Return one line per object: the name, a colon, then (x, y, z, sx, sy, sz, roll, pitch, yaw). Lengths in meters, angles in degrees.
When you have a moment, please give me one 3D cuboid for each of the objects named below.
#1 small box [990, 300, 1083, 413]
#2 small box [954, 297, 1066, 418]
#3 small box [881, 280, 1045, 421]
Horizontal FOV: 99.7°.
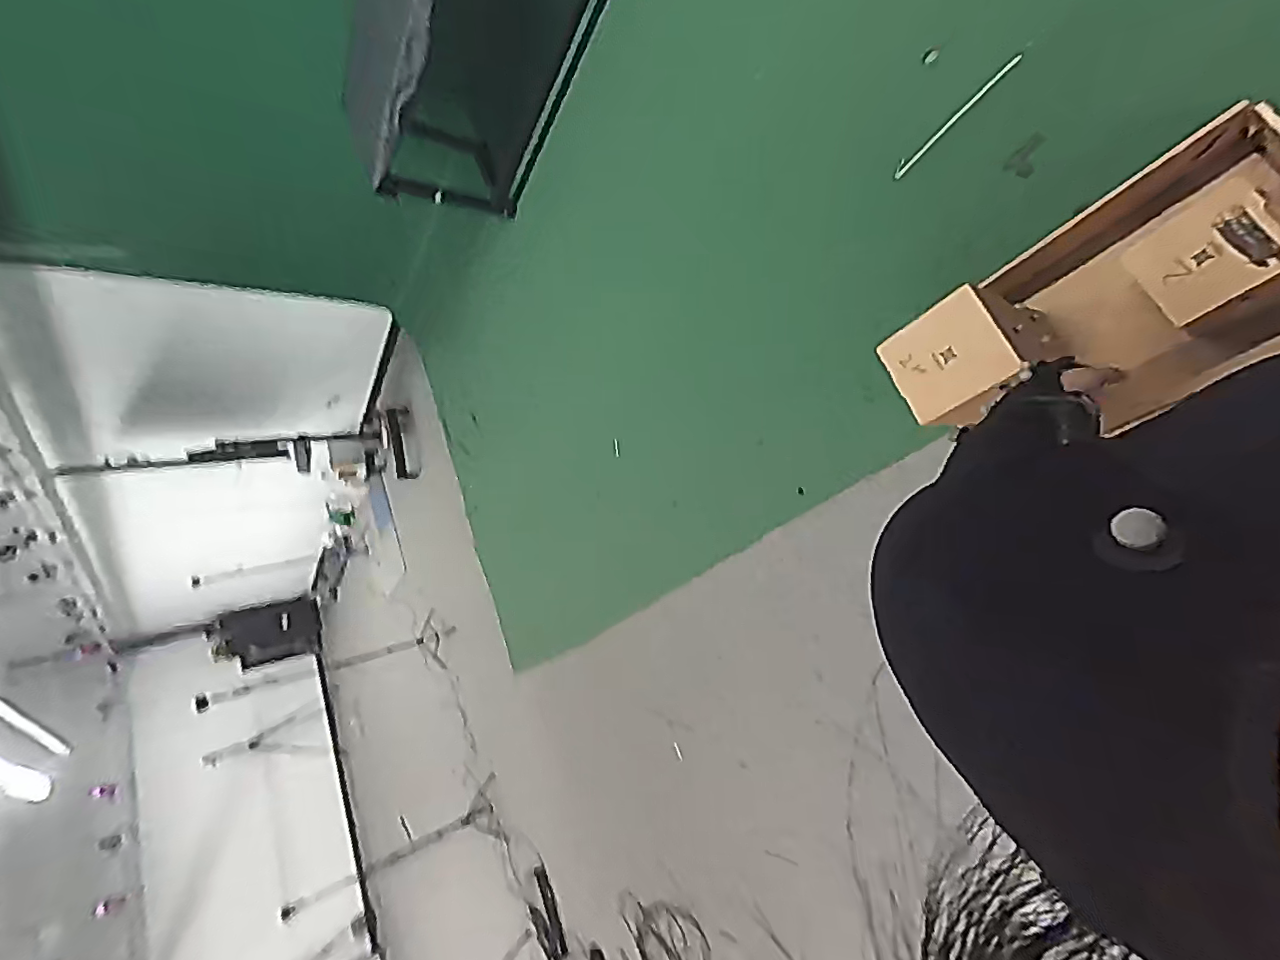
small box: (0.810, -0.264, 1.170, 0.168, 0.176, 0.179, -40, 67, 44)
small box: (0.687, -0.235, 1.064, 0.179, 0.176, 0.168, -39, 68, 44)
small box: (0.570, -0.220, 0.948, 0.179, 0.176, 0.168, -40, 66, 45)
